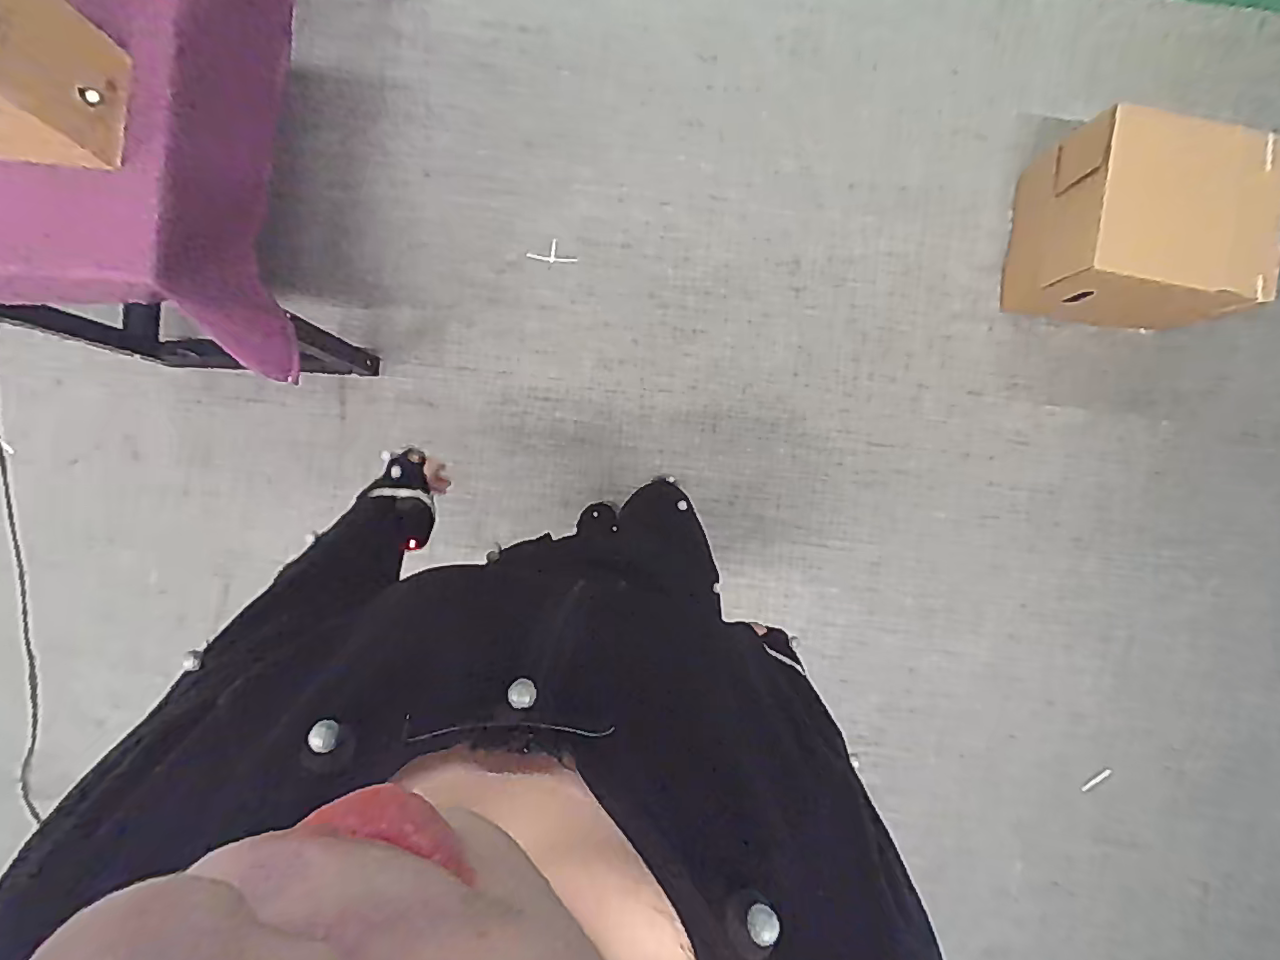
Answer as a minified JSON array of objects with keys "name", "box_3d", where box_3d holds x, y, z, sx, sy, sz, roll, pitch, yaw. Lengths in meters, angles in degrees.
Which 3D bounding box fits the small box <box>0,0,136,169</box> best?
[{"name":"small box","box_3d":[-0.814,-0.529,0.691,0.179,0.176,0.168,5,88,-2]}]
